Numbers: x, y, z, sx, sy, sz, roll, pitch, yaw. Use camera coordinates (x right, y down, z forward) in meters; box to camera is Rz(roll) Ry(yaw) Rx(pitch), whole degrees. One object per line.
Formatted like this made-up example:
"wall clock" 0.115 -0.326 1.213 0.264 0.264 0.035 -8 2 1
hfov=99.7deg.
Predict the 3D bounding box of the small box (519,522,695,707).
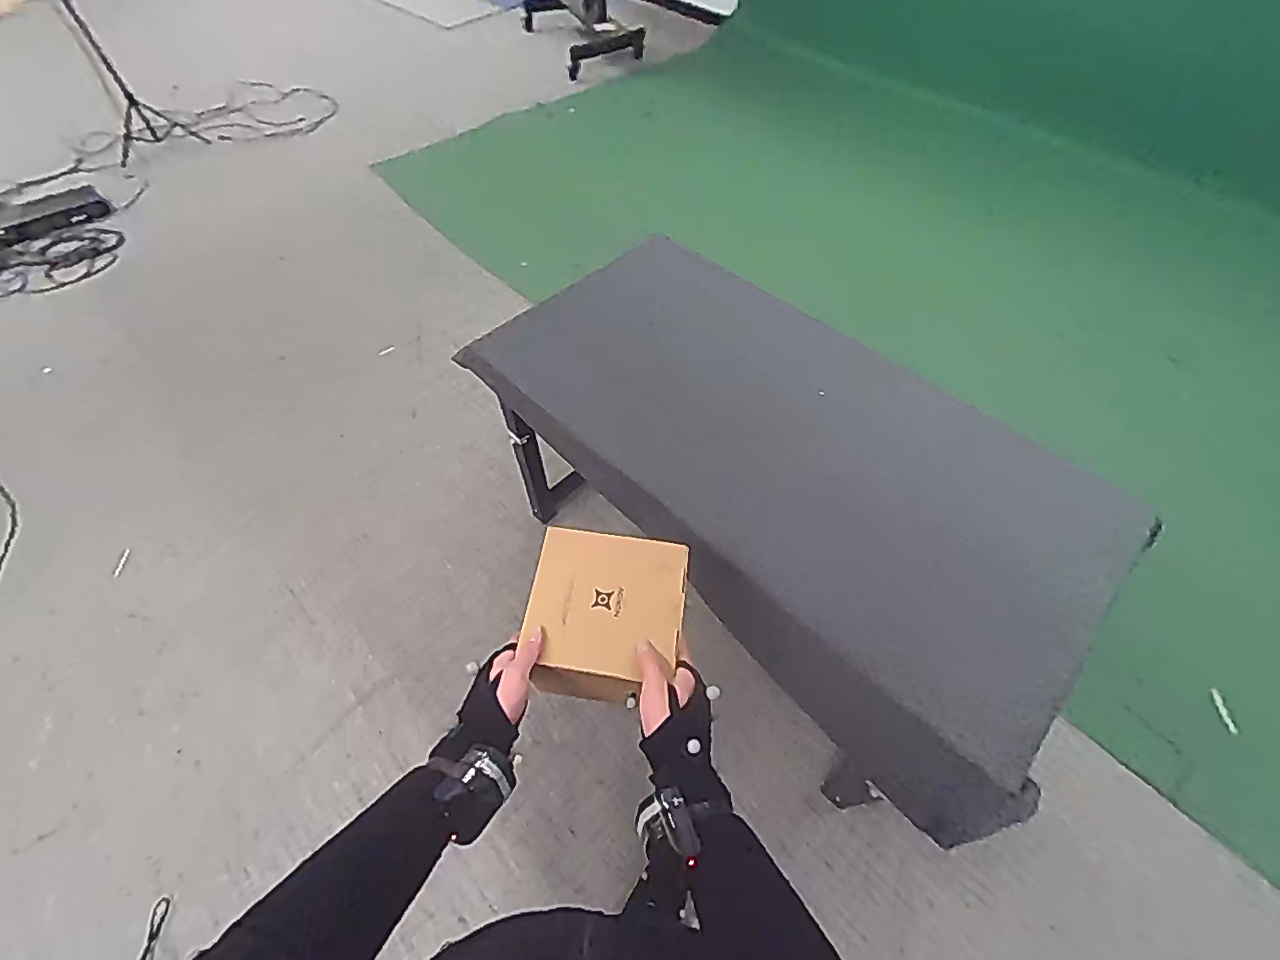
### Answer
"small box" -0.034 0.172 0.665 0.179 0.176 0.168 6 56 2
